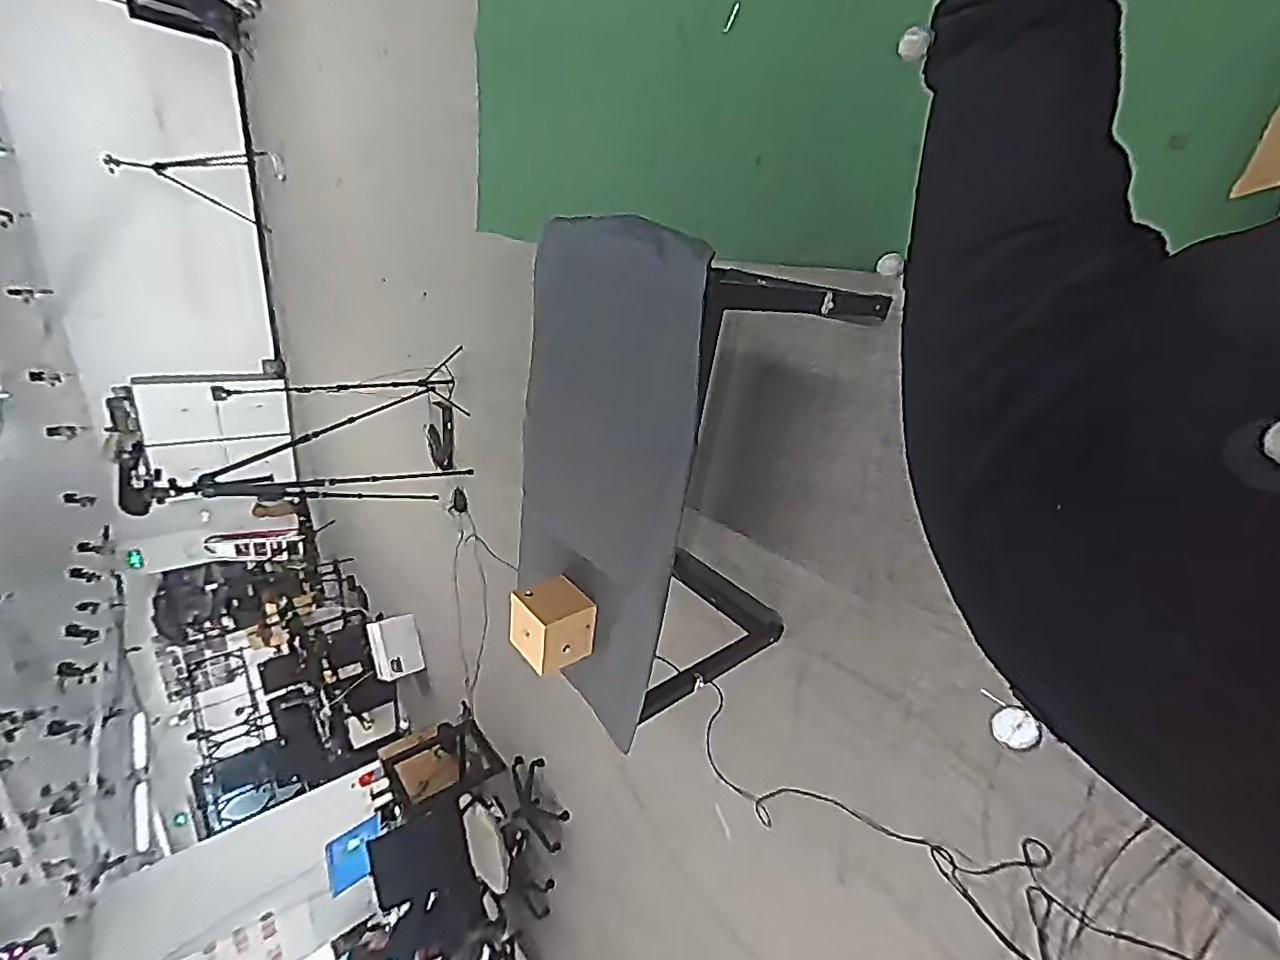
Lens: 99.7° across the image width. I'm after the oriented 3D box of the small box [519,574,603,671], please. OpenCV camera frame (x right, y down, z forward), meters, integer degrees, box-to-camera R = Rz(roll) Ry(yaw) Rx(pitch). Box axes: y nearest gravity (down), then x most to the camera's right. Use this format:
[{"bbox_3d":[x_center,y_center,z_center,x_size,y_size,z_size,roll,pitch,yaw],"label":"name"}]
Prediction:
[{"bbox_3d":[-0.218,0.381,1.487,0.179,0.176,0.168,30,122,43],"label":"small box"}]
